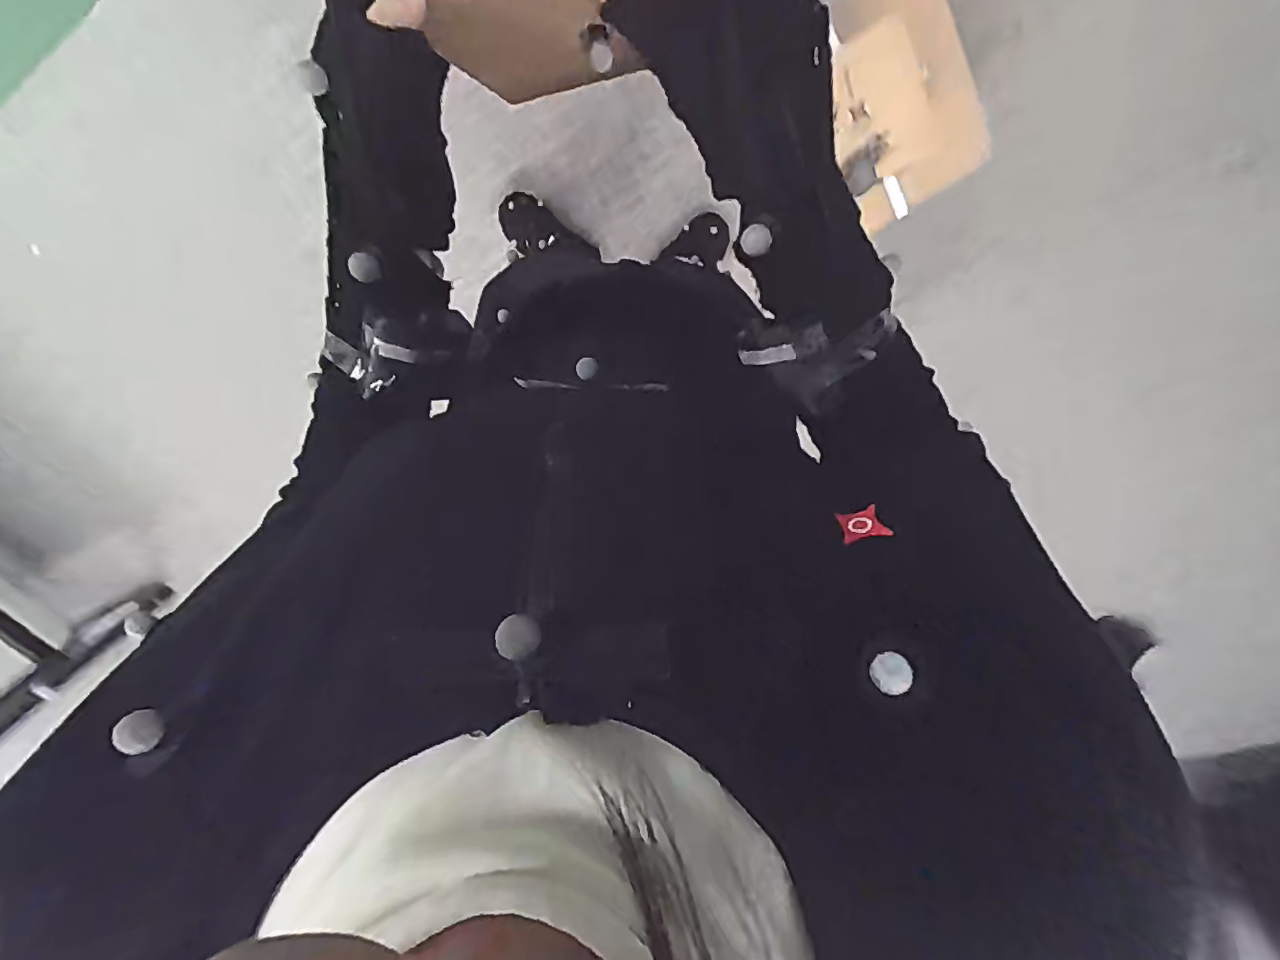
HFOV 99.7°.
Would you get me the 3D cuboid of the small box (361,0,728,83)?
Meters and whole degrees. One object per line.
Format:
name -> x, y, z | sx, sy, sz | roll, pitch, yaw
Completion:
small box -> -0.049, -0.326, 0.265 | 0.168, 0.176, 0.179 | -7, 112, 12
